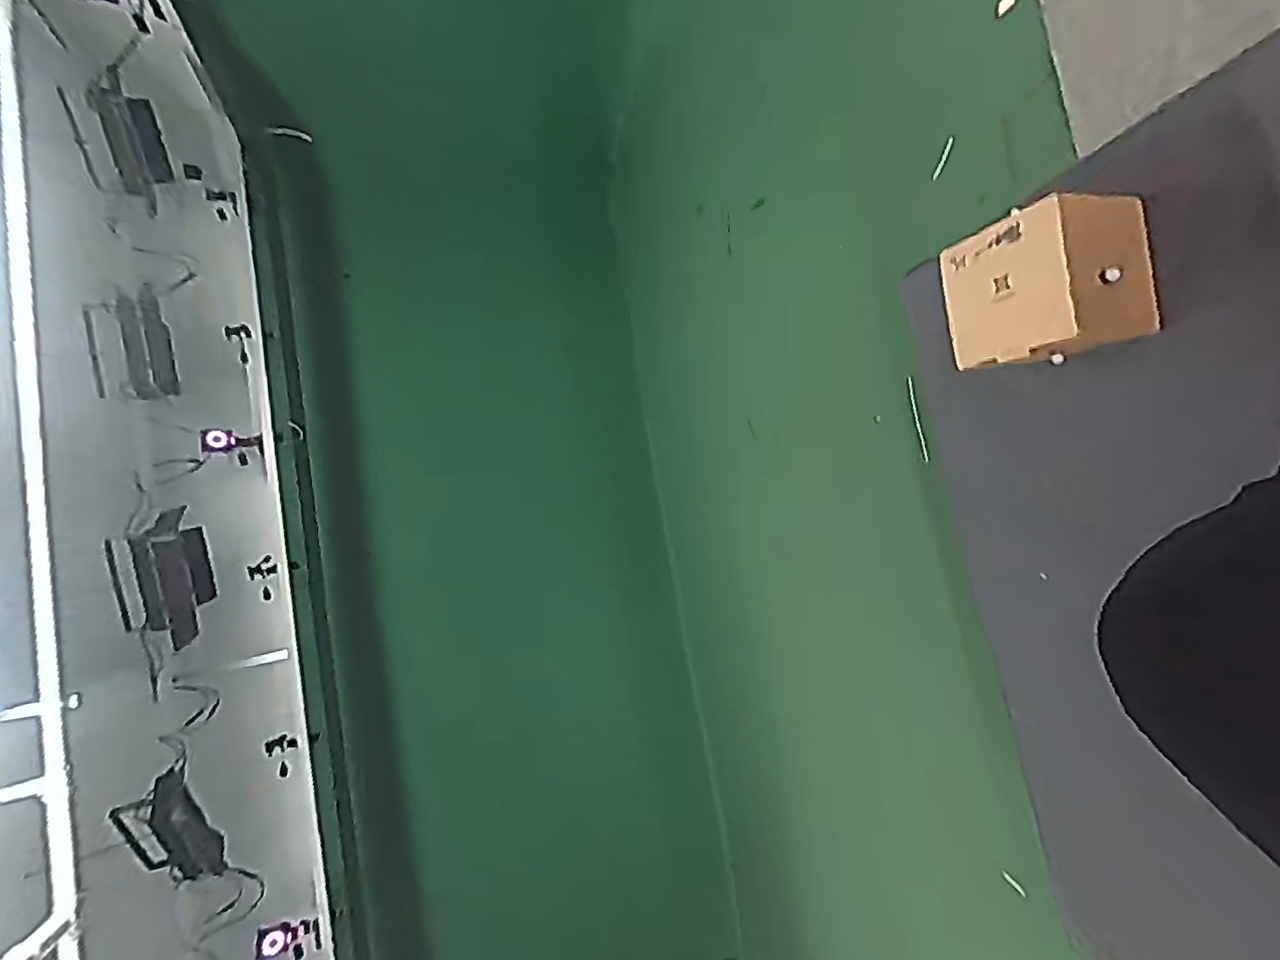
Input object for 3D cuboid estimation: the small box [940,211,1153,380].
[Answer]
[{"bbox_3d":[0.558,-0.248,0.748,0.168,0.176,0.179,171,91,-69],"label":"small box"}]
